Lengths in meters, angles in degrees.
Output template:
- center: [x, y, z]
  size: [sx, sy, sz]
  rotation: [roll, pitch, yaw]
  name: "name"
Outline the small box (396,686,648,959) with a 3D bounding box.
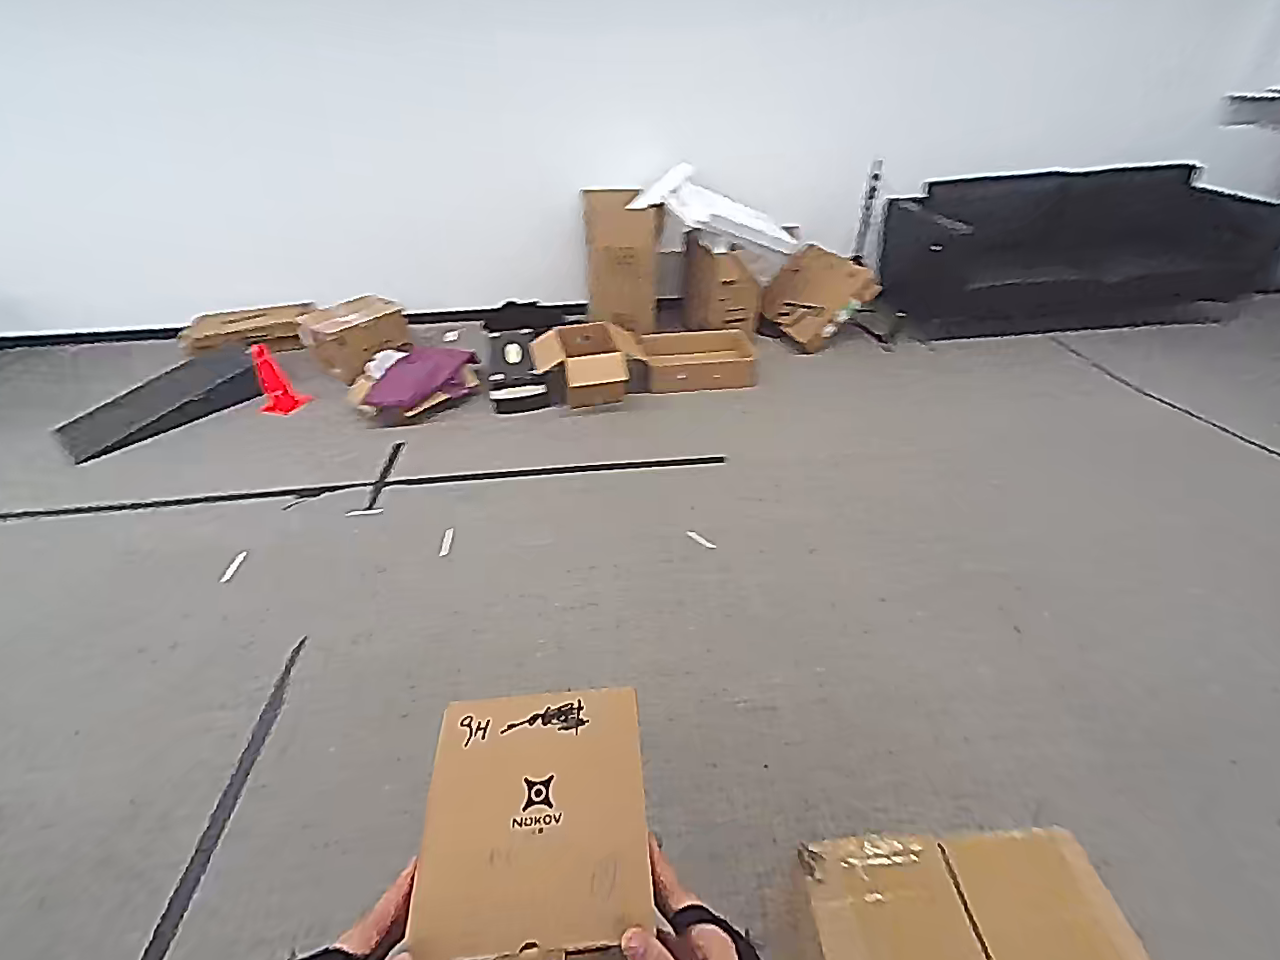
- center: [-0.083, 0.304, 0.464]
  size: [0.168, 0.176, 0.179]
  rotation: [-5, 44, -4]
  name: "small box"
